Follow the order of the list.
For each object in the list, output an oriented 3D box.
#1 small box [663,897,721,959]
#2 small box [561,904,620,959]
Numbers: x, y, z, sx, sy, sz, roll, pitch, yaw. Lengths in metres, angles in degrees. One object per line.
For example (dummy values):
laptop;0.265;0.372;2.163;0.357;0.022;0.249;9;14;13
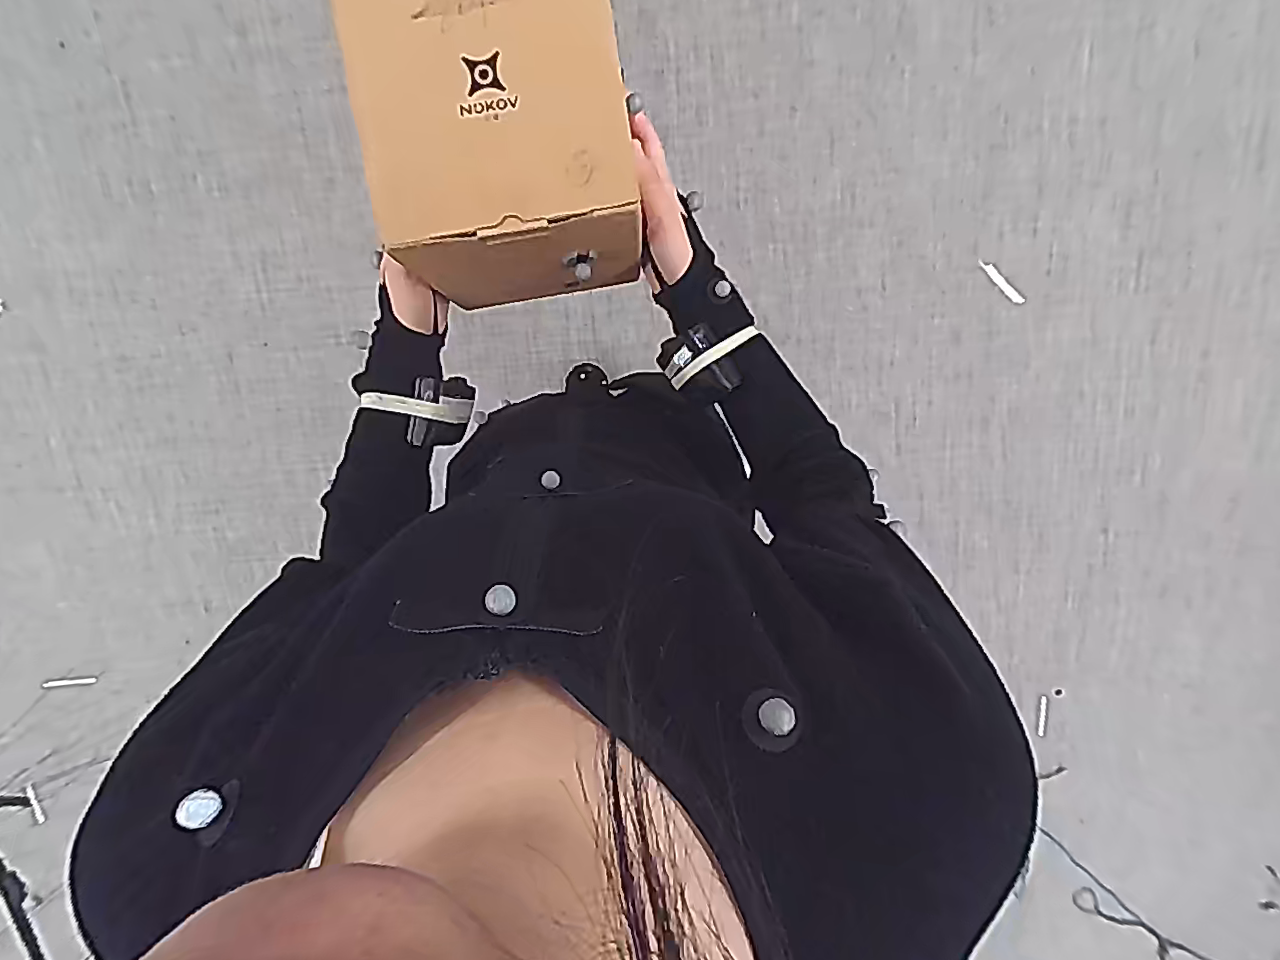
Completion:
small box;0.164;1.484;1.730;0.168;0.176;0.179;-3;103;-1
small box;-0.152;1.506;1.723;0.168;0.176;0.179;-6;101;-1
